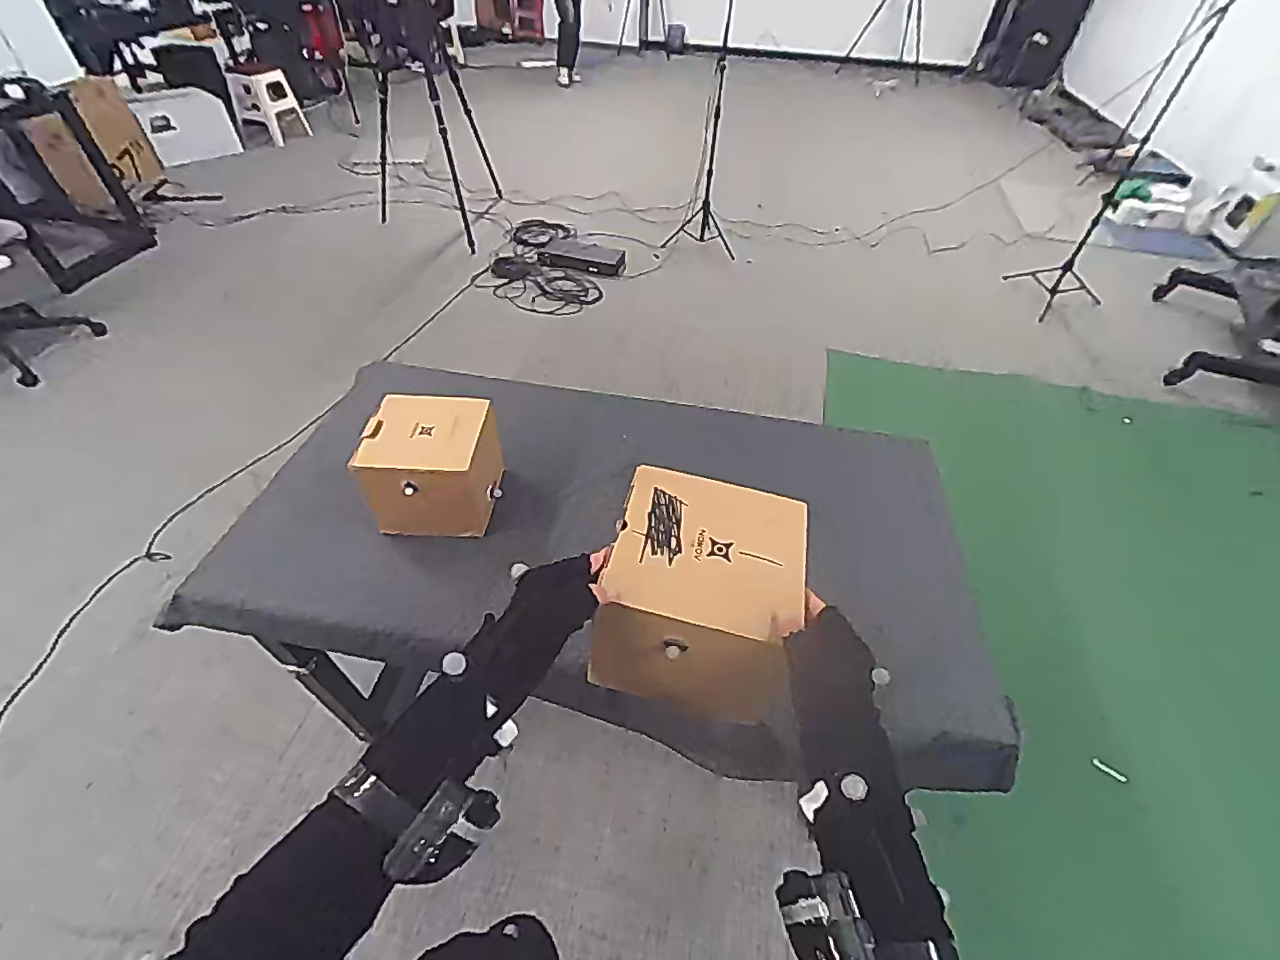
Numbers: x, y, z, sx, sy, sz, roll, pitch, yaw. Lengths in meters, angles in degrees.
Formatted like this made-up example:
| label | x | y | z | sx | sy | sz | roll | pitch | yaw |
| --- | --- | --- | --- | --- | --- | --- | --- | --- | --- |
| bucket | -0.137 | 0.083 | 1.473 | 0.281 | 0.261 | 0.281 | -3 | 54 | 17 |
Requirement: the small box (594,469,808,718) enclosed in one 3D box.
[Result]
| label | x | y | z | sx | sy | sz | roll | pitch | yaw |
| --- | --- | --- | --- | --- | --- | --- | --- | --- | --- |
| small box | 0.057 | 0.118 | 0.552 | 0.179 | 0.176 | 0.168 | 14 | 47 | 4 |

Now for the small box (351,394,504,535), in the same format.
| label | x | y | z | sx | sy | sz | roll | pitch | yaw |
| --- | --- | --- | --- | --- | --- | --- | --- | --- | --- |
| small box | -0.338 | -0.023 | 0.899 | 0.179 | 0.176 | 0.168 | 3 | 49 | -2 |
